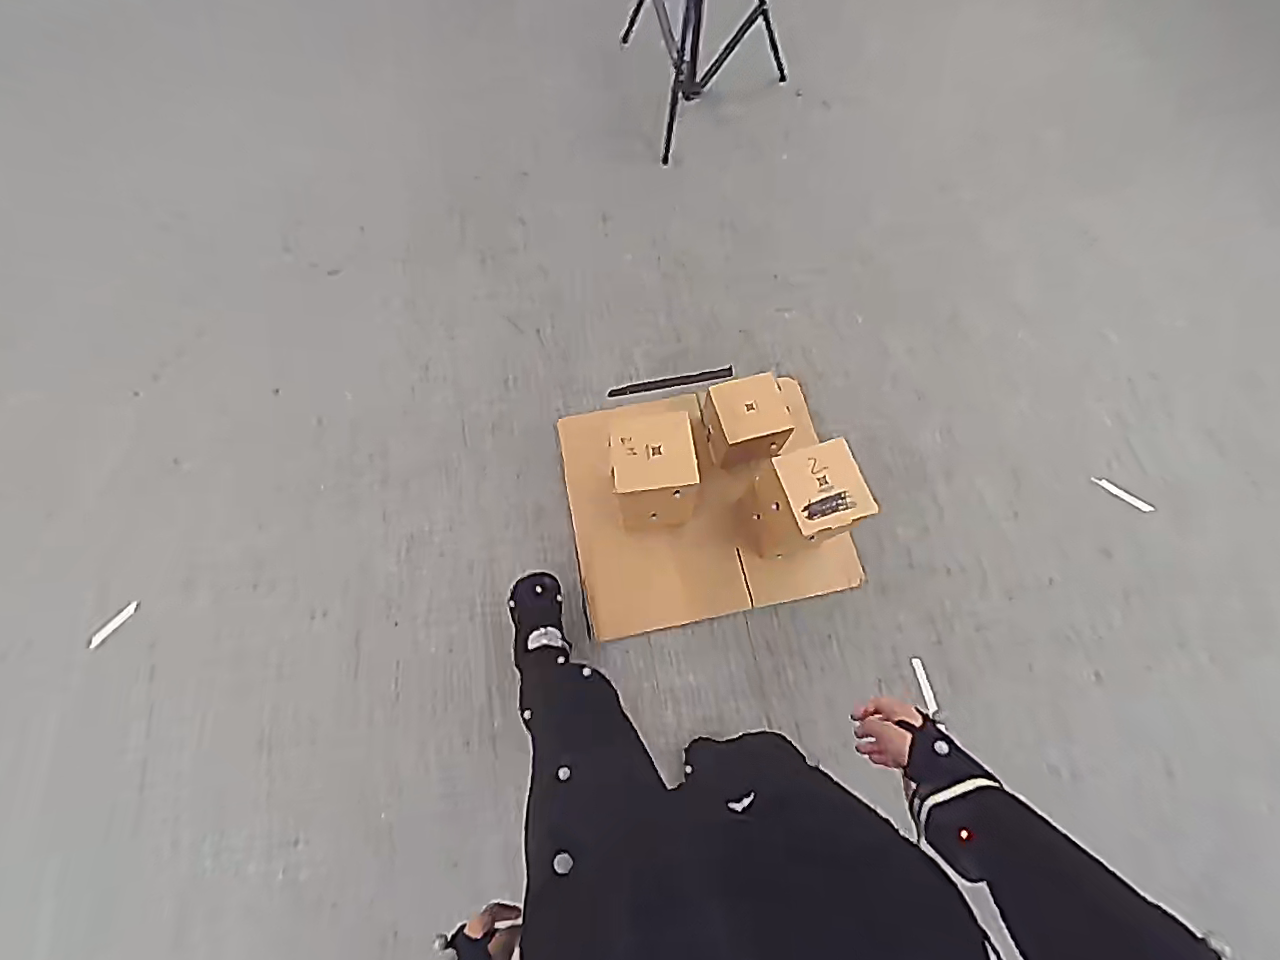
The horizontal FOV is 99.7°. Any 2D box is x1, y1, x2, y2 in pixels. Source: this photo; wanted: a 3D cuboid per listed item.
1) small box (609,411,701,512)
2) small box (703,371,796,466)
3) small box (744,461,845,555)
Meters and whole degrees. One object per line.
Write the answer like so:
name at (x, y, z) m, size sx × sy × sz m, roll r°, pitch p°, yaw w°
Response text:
small box at (0.029, -0.034, 1.186) m, size 0.179 × 0.176 × 0.168 m, roll -7°, pitch 72°, yaw -2°
small box at (0.276, -0.154, 1.404) m, size 0.179 × 0.176 × 0.168 m, roll -15°, pitch 71°, yaw -5°
small box at (0.370, 0.077, 1.326) m, size 0.168 × 0.176 × 0.179 m, roll -15°, pitch 72°, yaw -5°
